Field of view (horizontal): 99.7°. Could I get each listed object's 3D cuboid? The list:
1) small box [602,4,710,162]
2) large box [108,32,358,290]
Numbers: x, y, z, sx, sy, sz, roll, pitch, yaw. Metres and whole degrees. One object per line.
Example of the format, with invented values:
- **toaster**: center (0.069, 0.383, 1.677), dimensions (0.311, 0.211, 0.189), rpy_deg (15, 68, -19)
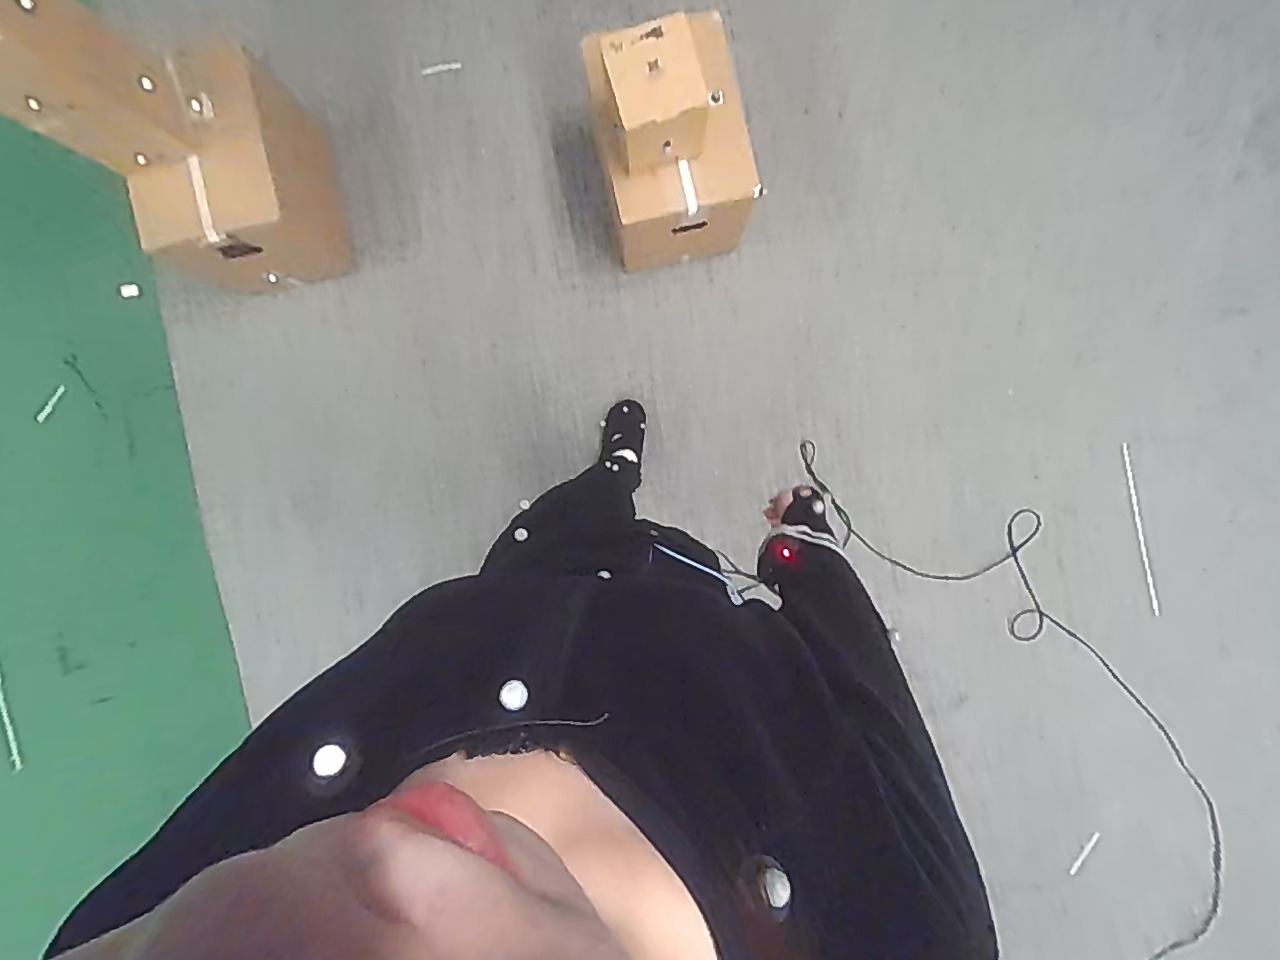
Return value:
- **small box**: center (0.034, -0.760, 1.063), dimensions (0.168, 0.176, 0.179), rpy_deg (-16, 93, 3)
- **large box**: center (-0.953, -0.736, 1.313), dimensions (0.320, 0.320, 0.408), rpy_deg (-12, 91, 1)
